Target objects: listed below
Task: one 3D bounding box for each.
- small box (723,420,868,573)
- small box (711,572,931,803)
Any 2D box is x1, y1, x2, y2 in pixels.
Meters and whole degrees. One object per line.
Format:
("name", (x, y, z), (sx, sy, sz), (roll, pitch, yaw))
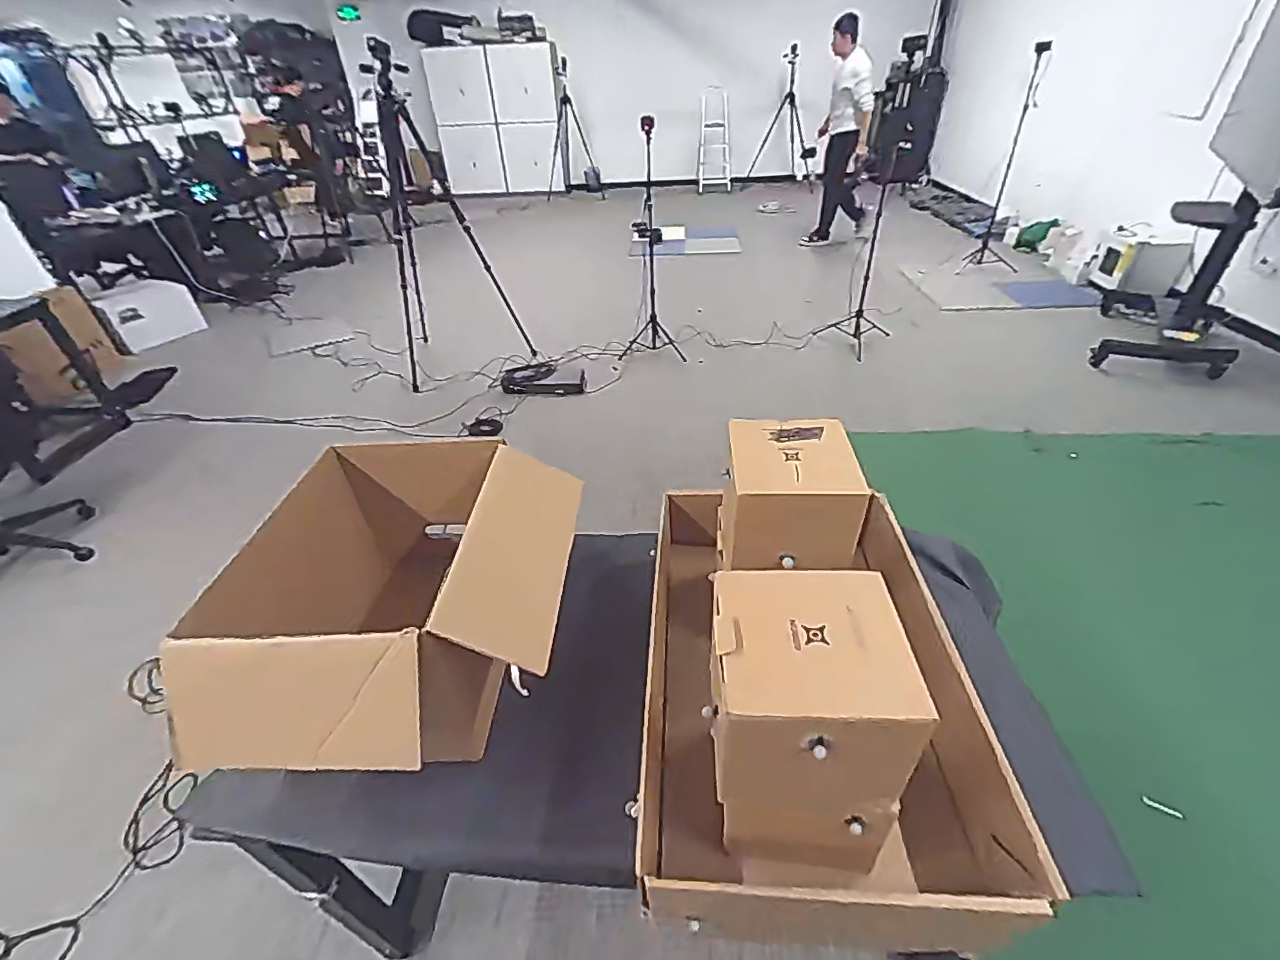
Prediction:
("small box", (0.211, 0.029, 0.788), (0.168, 0.176, 0.179), (0, 39, 5))
("small box", (0.164, 0.214, 0.562), (0.179, 0.176, 0.168), (0, 38, 4))
